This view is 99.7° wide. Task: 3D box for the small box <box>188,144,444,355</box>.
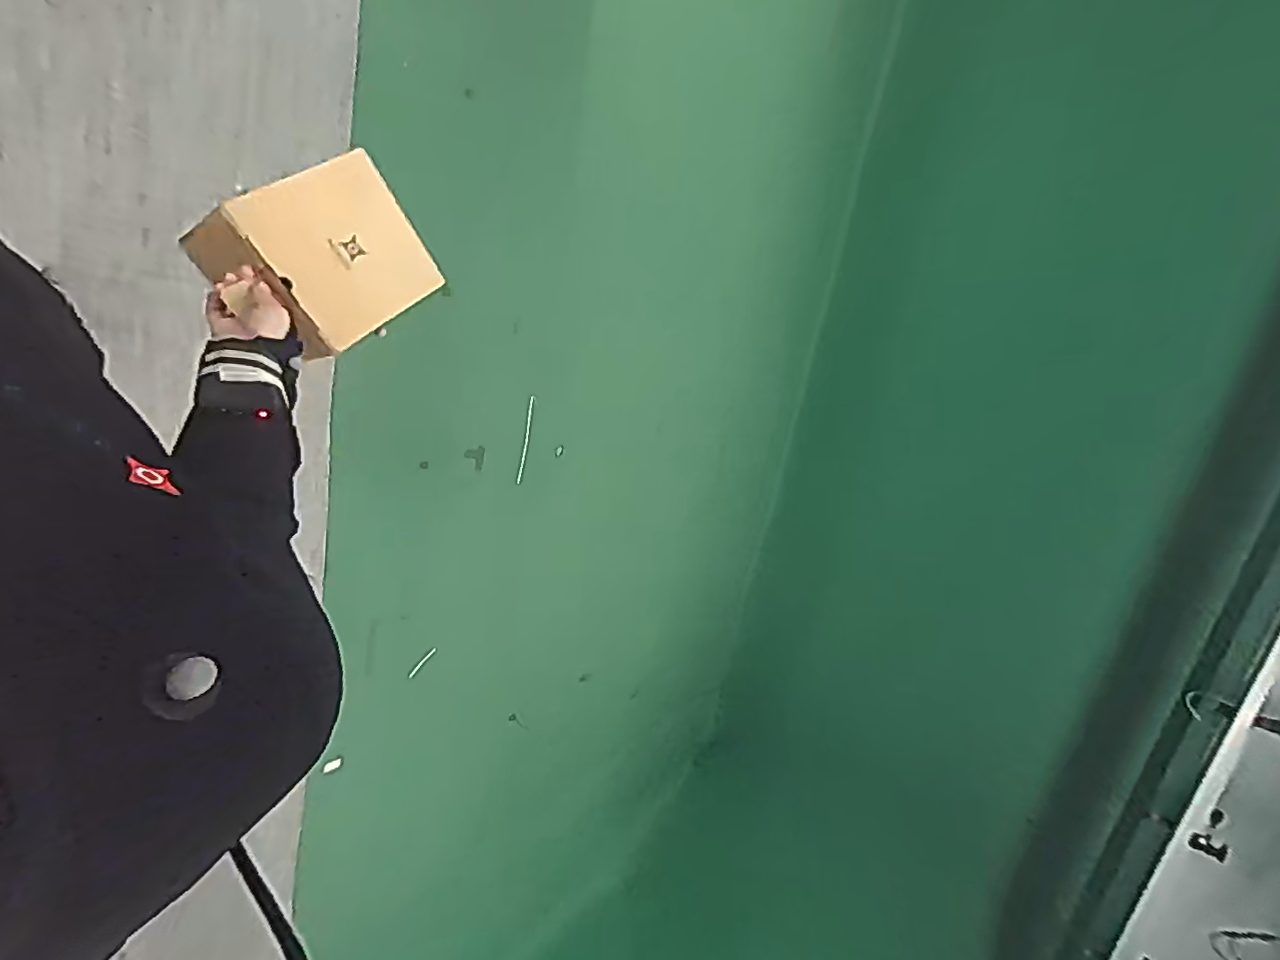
[{"bbox_3d":[-0.384,-0.267,0.649,0.179,0.176,0.168,-53,132,-32],"label":"small box"}]
